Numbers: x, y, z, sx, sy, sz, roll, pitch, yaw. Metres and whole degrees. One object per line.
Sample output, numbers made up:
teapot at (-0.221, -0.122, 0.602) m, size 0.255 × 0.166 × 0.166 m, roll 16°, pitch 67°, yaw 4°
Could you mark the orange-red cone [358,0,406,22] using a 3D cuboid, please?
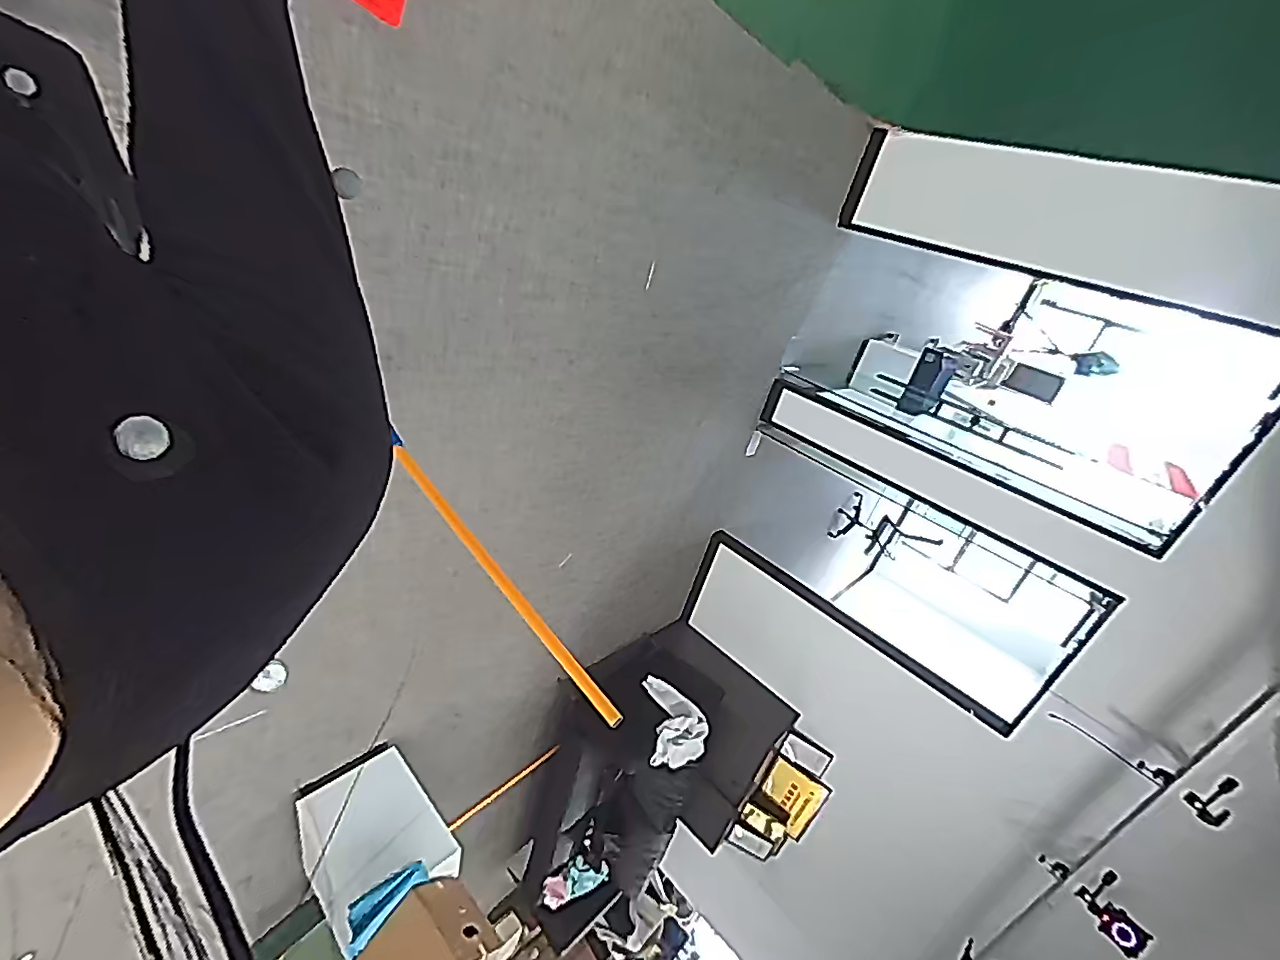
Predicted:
orange-red cone at (-0.442, -1.015, 1.015) m, size 0.198 × 0.360 × 0.199 m, roll 2°, pitch 117°, yaw -54°
